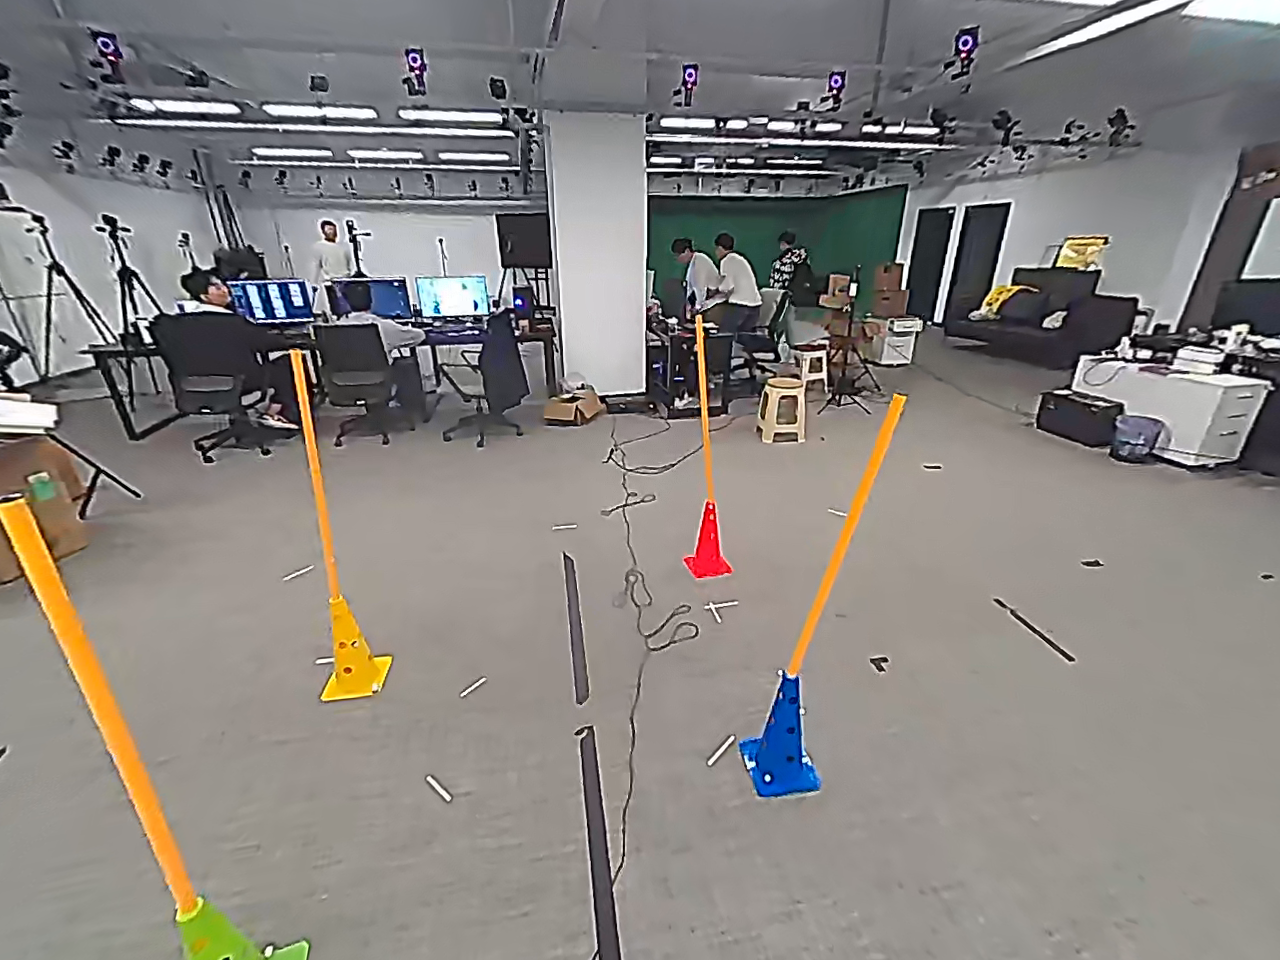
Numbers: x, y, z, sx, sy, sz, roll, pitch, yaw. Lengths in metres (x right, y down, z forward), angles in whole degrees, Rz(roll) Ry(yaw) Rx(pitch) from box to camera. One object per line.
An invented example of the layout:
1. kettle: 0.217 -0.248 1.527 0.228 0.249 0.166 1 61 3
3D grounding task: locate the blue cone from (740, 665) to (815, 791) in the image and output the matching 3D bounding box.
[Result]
1. blue cone: 0.418 0.711 1.592 0.193 0.380 0.192 -4 23 -7

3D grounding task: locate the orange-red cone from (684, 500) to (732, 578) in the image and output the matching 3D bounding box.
1. orange-red cone: 0.330 0.264 2.605 0.199 0.360 0.198 -8 24 -14

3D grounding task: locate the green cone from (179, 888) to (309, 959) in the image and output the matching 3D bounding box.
1. green cone: -0.817 0.943 1.060 0.200 0.368 0.202 -9 23 -19
